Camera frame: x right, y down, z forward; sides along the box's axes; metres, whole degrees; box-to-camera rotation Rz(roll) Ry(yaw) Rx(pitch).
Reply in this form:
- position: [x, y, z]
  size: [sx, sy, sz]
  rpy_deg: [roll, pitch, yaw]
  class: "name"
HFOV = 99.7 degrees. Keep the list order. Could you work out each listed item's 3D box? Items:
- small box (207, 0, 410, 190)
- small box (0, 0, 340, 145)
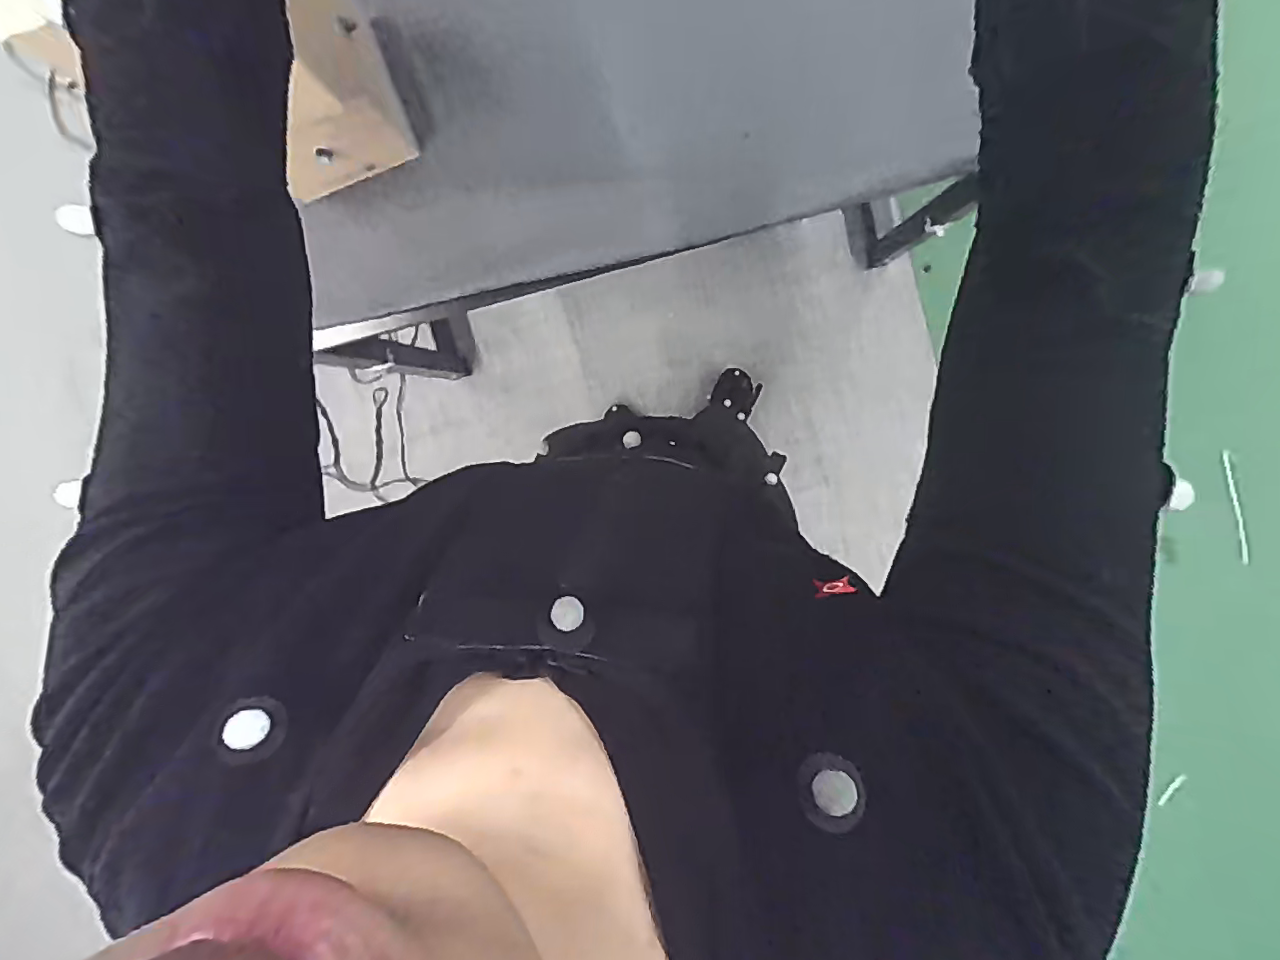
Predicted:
- position: [-0.389, -0.454, 0.603]
  size: [0.168, 0.176, 0.179]
  rpy_deg: [-21, 96, 3]
  class: "small box"
- position: [-0.386, -0.418, 0.442]
  size: [0.168, 0.176, 0.179]
  rpy_deg: [-13, 98, 2]
  class: "small box"
